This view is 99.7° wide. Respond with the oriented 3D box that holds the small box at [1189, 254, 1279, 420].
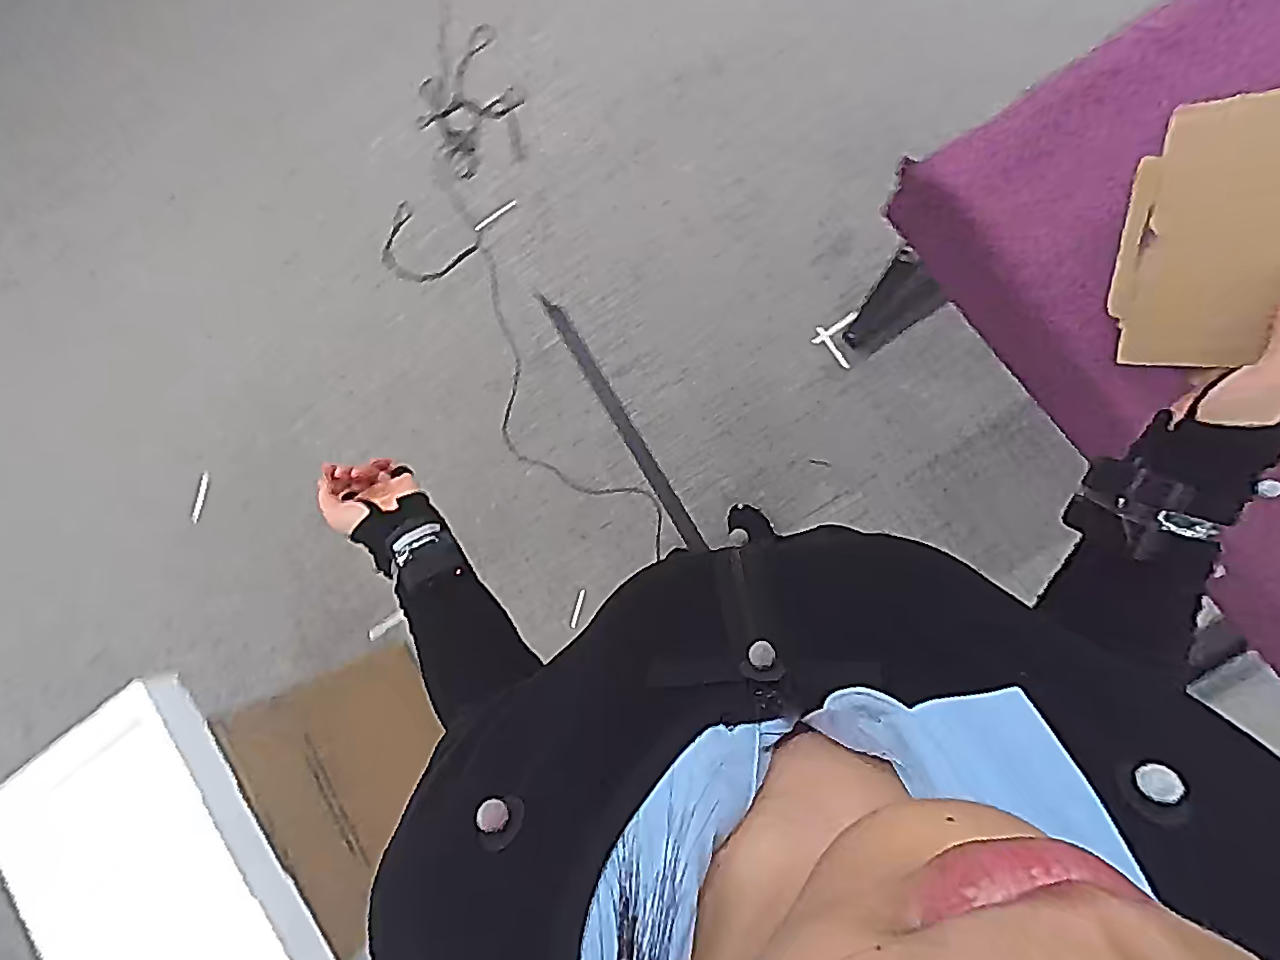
[{"bbox_3d":[0.798,-0.170,0.605,0.179,0.176,0.168,30,91,9],"label":"small box"}]
